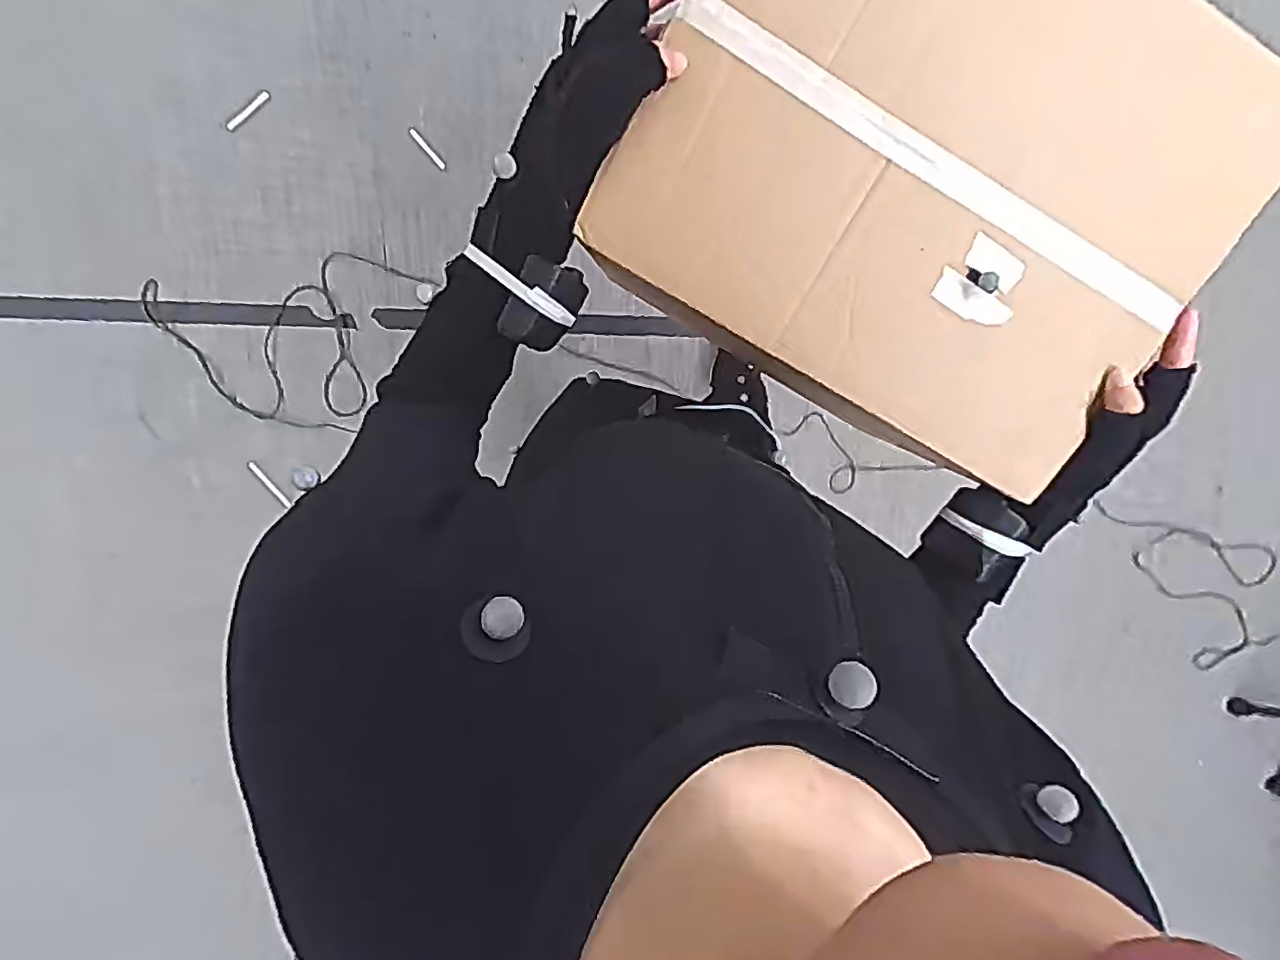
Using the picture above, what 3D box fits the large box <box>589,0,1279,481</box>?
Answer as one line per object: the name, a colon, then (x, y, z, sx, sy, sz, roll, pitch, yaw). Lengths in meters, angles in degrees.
large box: (0.205, -0.255, 0.524, 0.408, 0.320, 0.320, 29, 104, -7)
